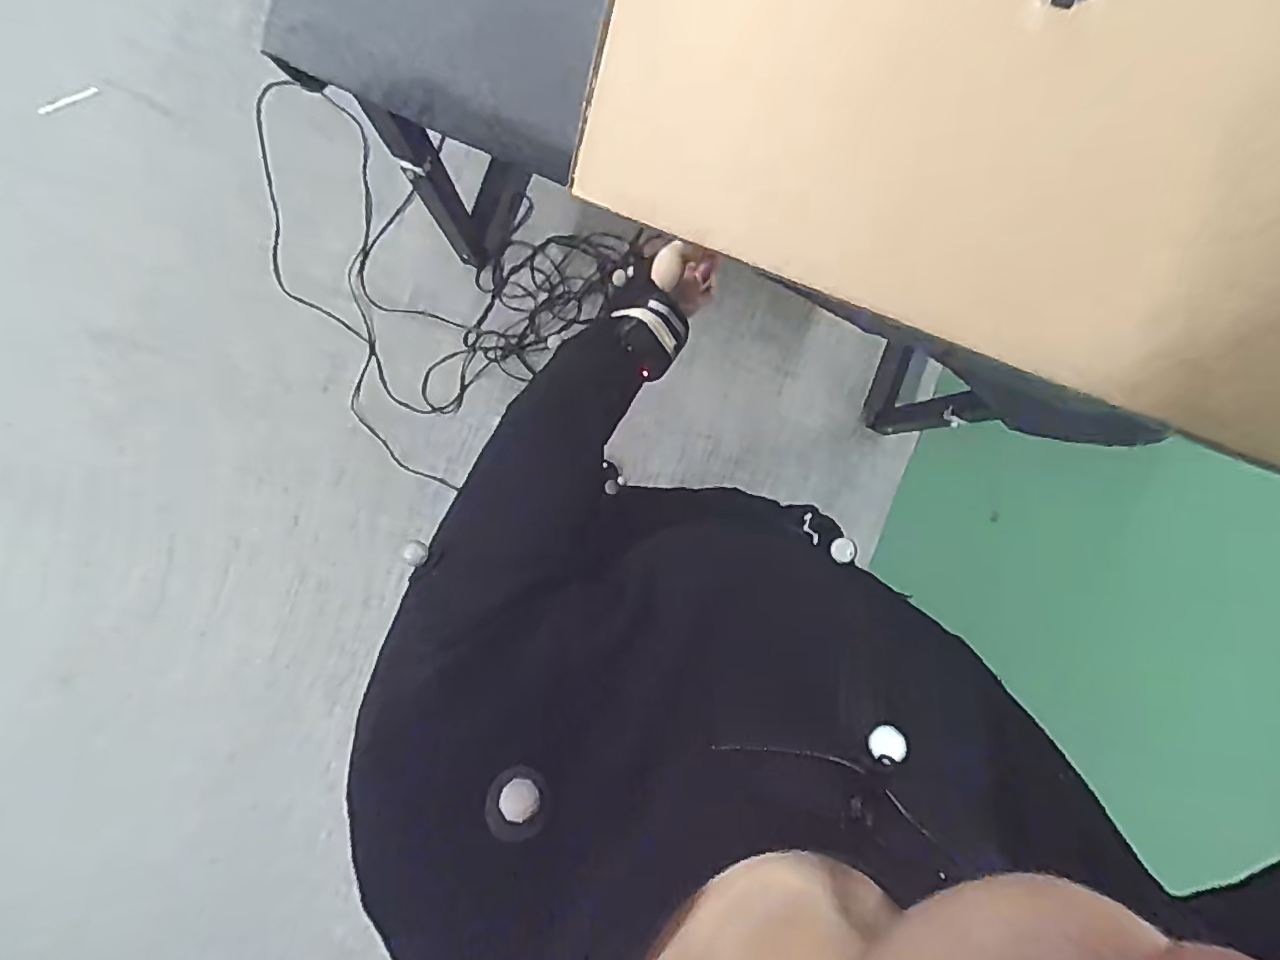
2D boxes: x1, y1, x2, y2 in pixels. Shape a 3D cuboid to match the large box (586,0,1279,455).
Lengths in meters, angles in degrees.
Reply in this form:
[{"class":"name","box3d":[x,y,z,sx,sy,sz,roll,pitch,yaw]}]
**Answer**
[{"class":"large box","box3d":[0.234,-0.261,0.356,0.408,0.320,0.320,25,116,13]}]
